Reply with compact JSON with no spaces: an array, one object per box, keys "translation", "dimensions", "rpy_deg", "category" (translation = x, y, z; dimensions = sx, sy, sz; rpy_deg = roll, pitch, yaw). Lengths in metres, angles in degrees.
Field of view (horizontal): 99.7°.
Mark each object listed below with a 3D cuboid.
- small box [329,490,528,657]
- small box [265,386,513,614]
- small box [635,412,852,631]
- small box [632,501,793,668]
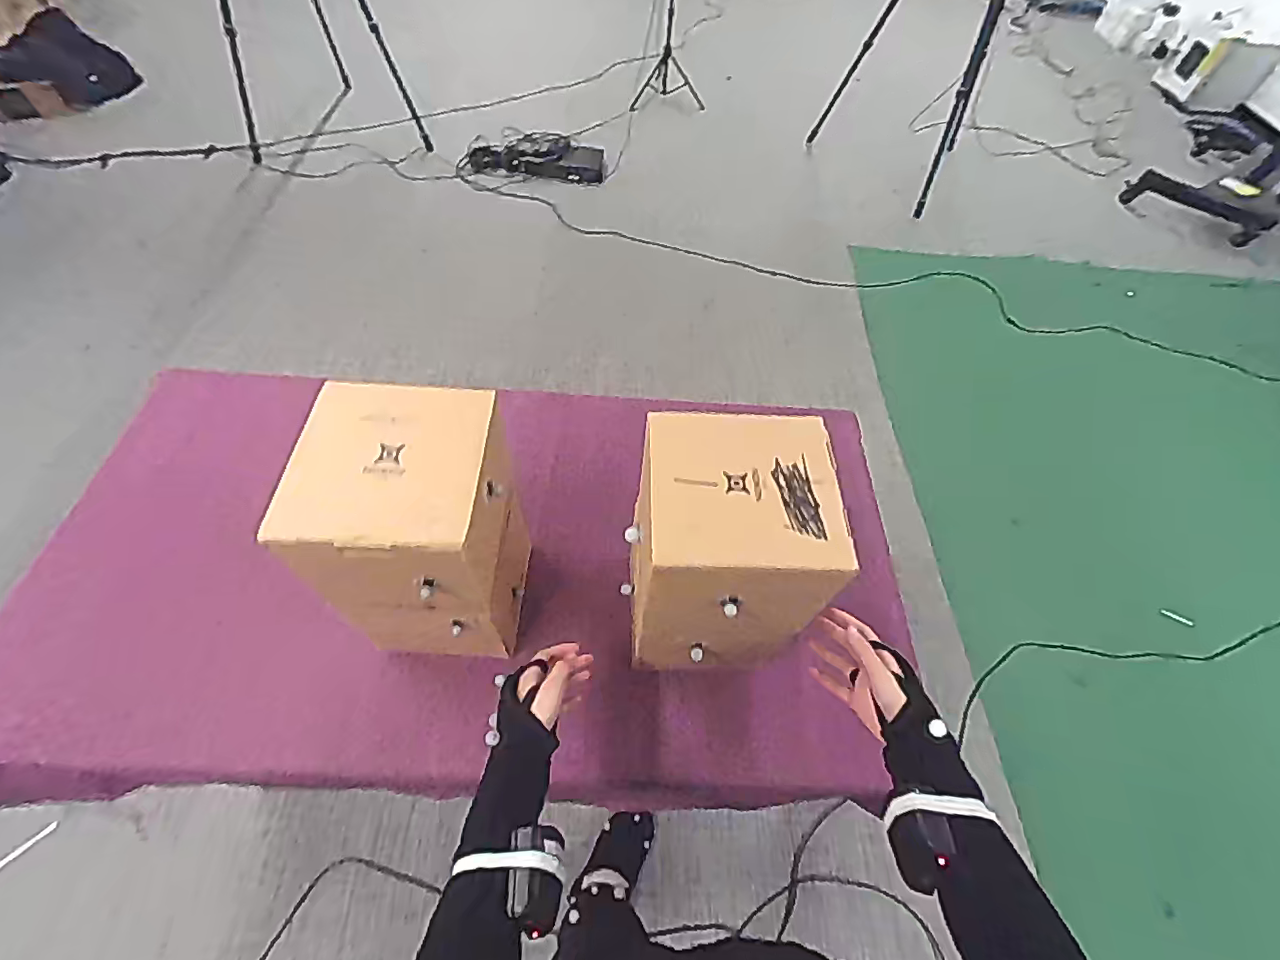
[{"translation":[-0.249,0.118,0.690],"dimensions":[0.179,0.176,0.168],"rpy_deg":[5,55,-2],"category":"small box"},{"translation":[-0.231,0.027,0.557],"dimensions":[0.168,0.176,0.179],"rpy_deg":[3,55,-4],"category":"small box"},{"translation":[0.087,0.049,0.558],"dimensions":[0.179,0.176,0.168],"rpy_deg":[1,55,-3],"category":"small box"},{"translation":[0.078,0.137,0.695],"dimensions":[0.179,0.176,0.168],"rpy_deg":[1,55,-3],"category":"small box"}]
